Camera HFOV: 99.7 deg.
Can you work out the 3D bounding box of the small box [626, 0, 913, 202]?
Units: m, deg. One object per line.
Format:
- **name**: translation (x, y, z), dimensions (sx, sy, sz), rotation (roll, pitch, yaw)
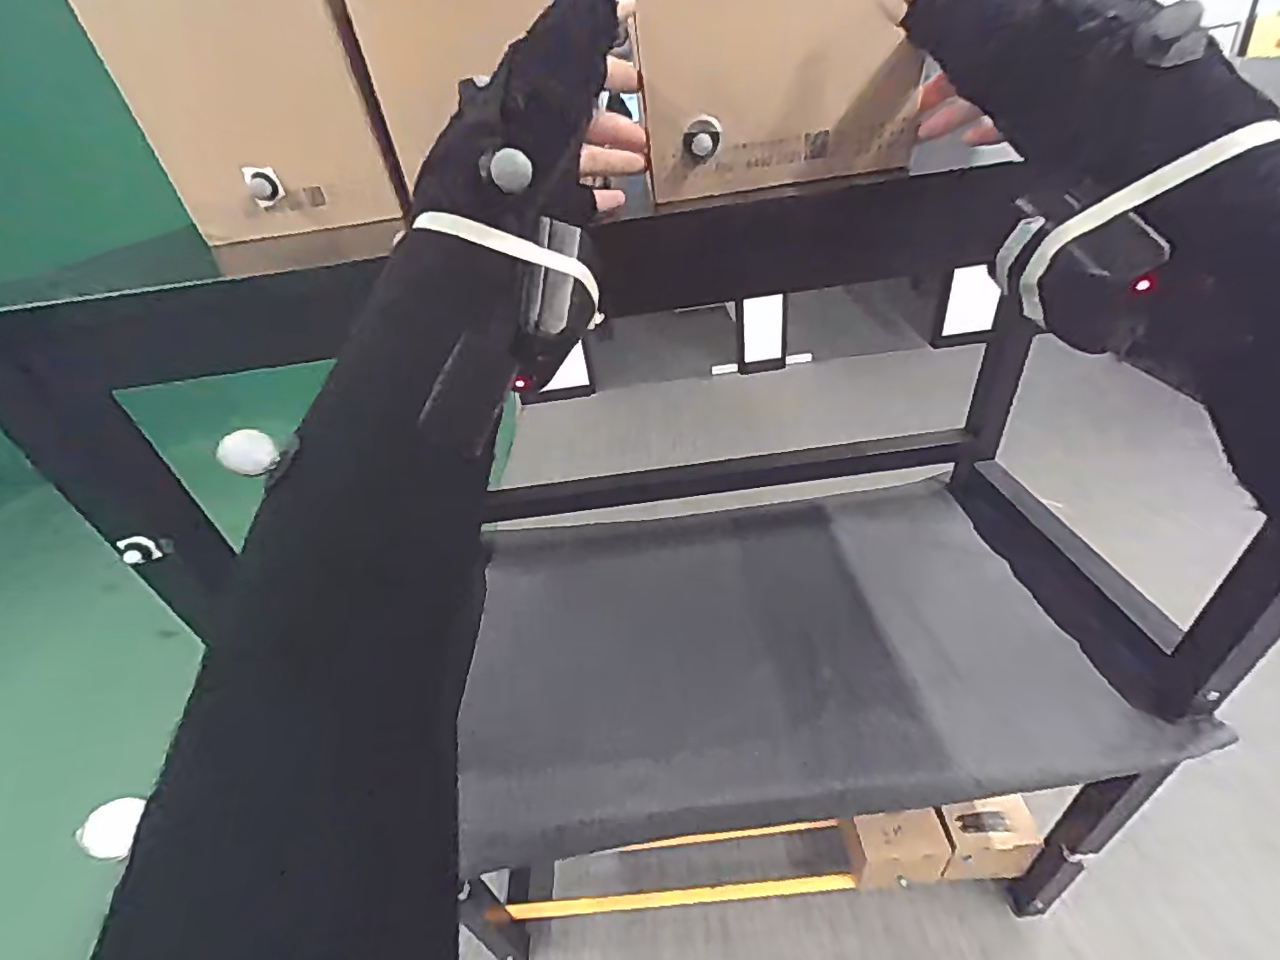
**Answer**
- **small box**: translation (0.077, -0.303, 0.378), dimensions (0.168, 0.176, 0.179), rotation (-6, 34, 3)
